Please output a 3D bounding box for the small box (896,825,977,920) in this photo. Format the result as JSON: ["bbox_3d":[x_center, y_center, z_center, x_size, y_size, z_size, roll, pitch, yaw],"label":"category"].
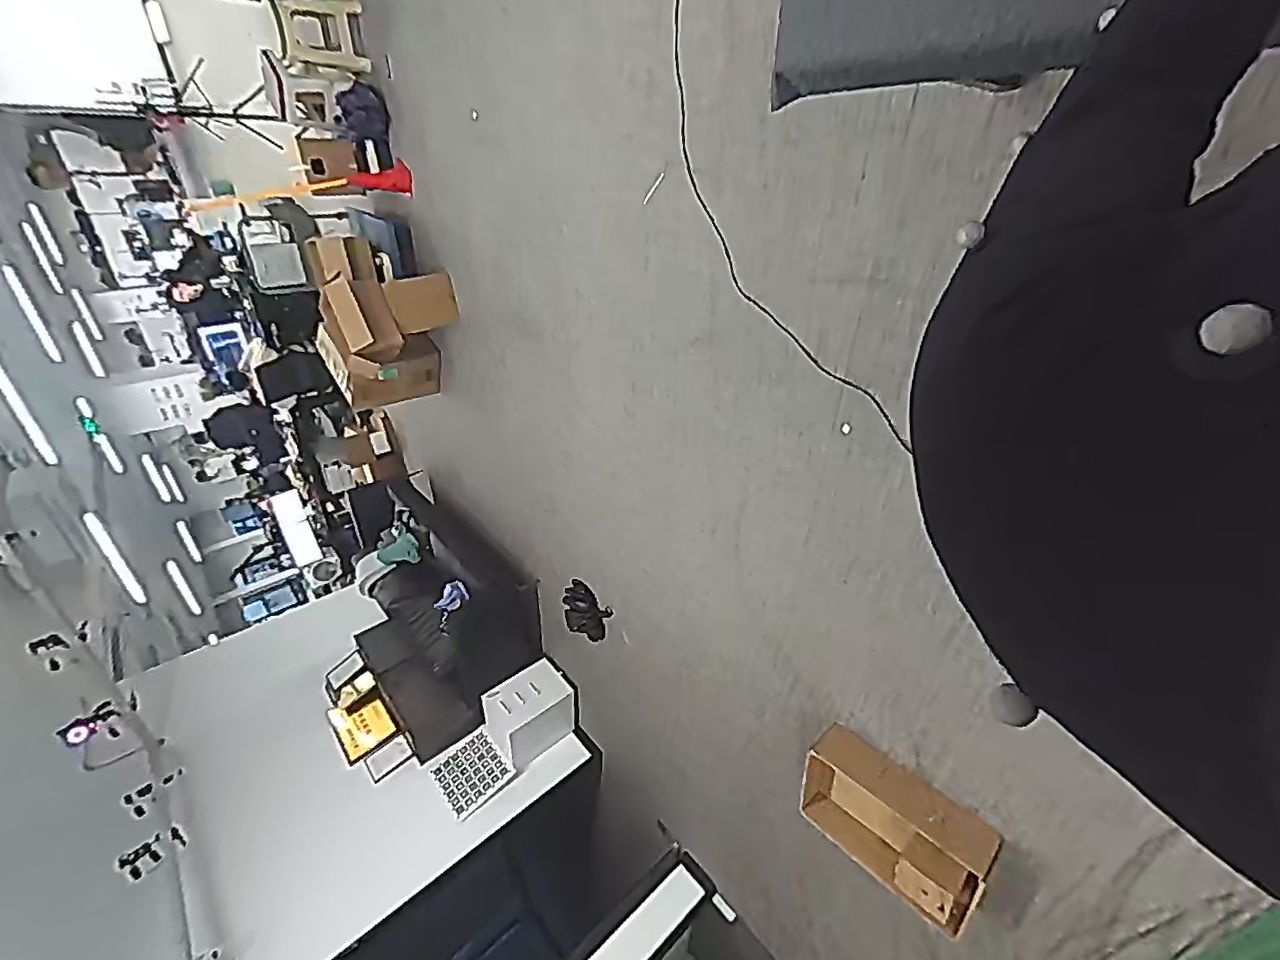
[{"bbox_3d":[1.009,1.324,1.843,0.179,0.176,0.168,24,128,45],"label":"small box"}]
